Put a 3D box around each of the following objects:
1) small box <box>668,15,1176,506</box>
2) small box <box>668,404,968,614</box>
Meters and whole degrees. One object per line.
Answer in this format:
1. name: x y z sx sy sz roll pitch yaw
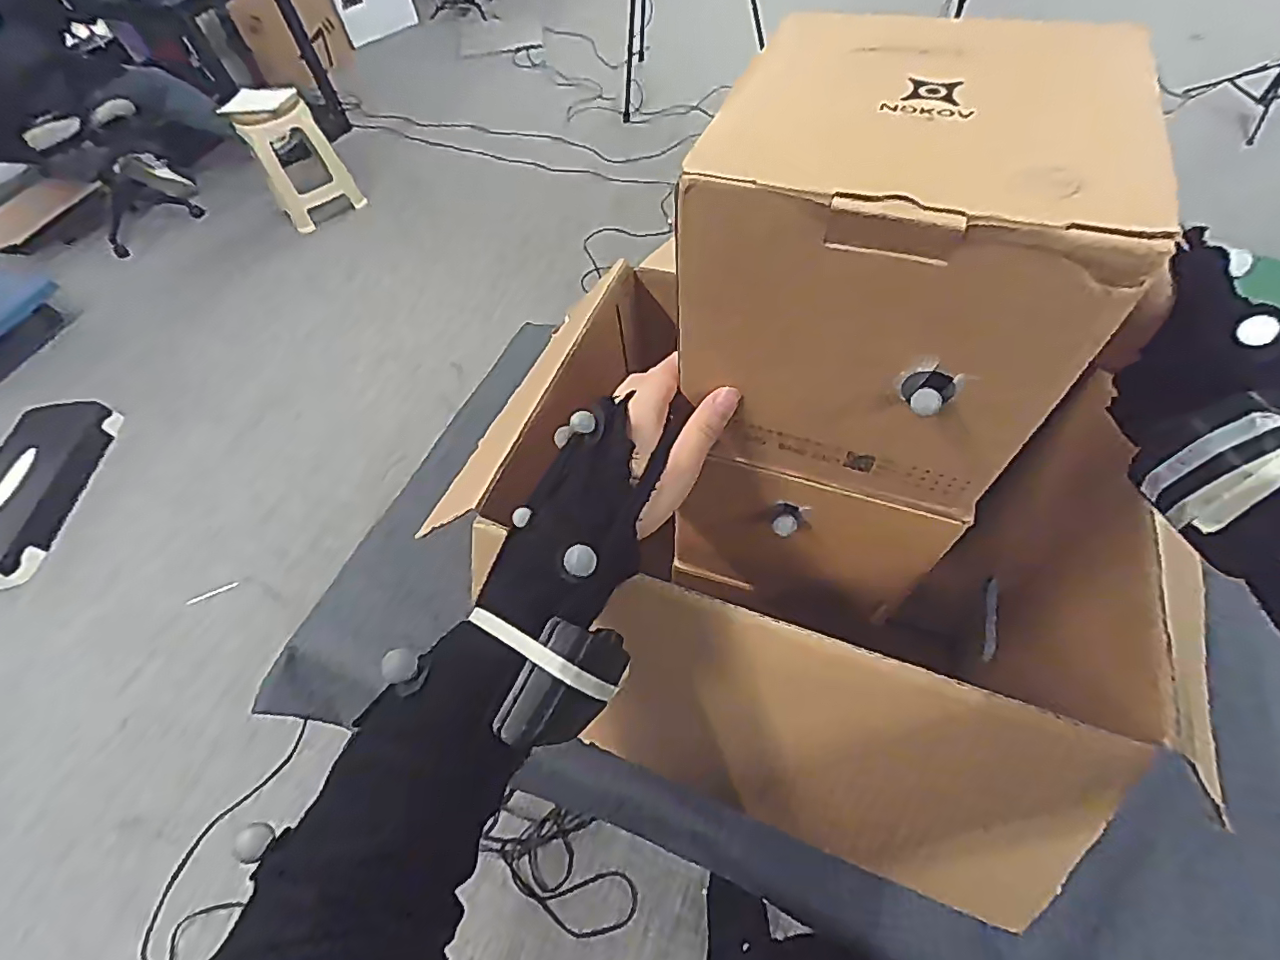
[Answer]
1. small box: 0.125 -0.113 0.290 0.168 0.176 0.179 18 58 16
2. small box: 0.133 -0.015 0.421 0.179 0.176 0.168 17 59 16
